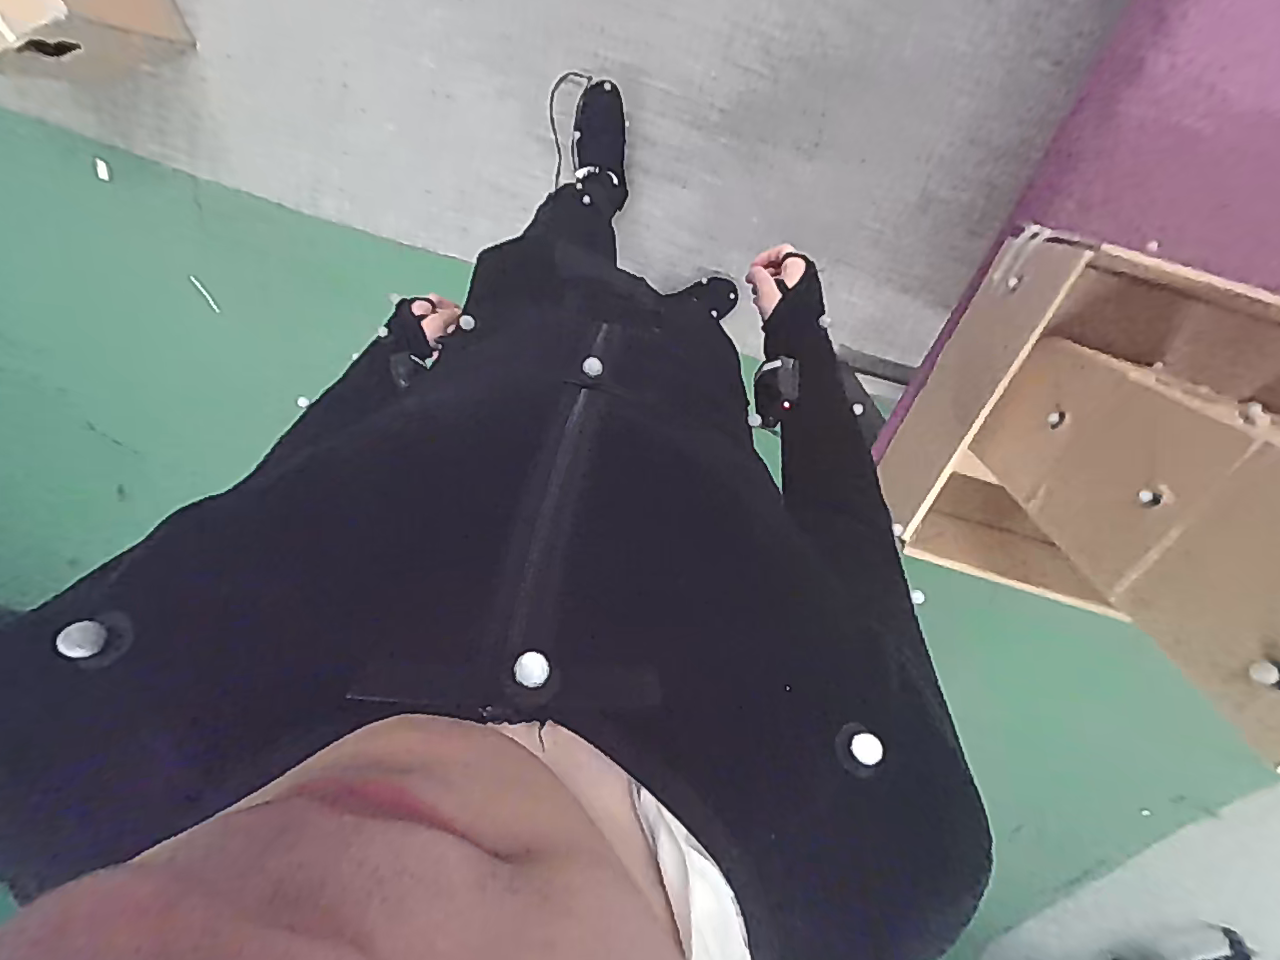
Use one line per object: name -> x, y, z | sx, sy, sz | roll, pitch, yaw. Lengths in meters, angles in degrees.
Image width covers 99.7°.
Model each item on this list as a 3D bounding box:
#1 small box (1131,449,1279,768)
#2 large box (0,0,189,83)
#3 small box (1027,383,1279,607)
small box -> 0.524, 0.105, 0.392 | 0.168, 0.176, 0.179 | 18, 118, -3
large box -> -1.311, -1.139, 1.138 | 0.320, 0.320, 0.408 | -10, 119, 14
small box -> 0.541, 0.025, 0.536 | 0.168, 0.176, 0.179 | 19, 119, -3
